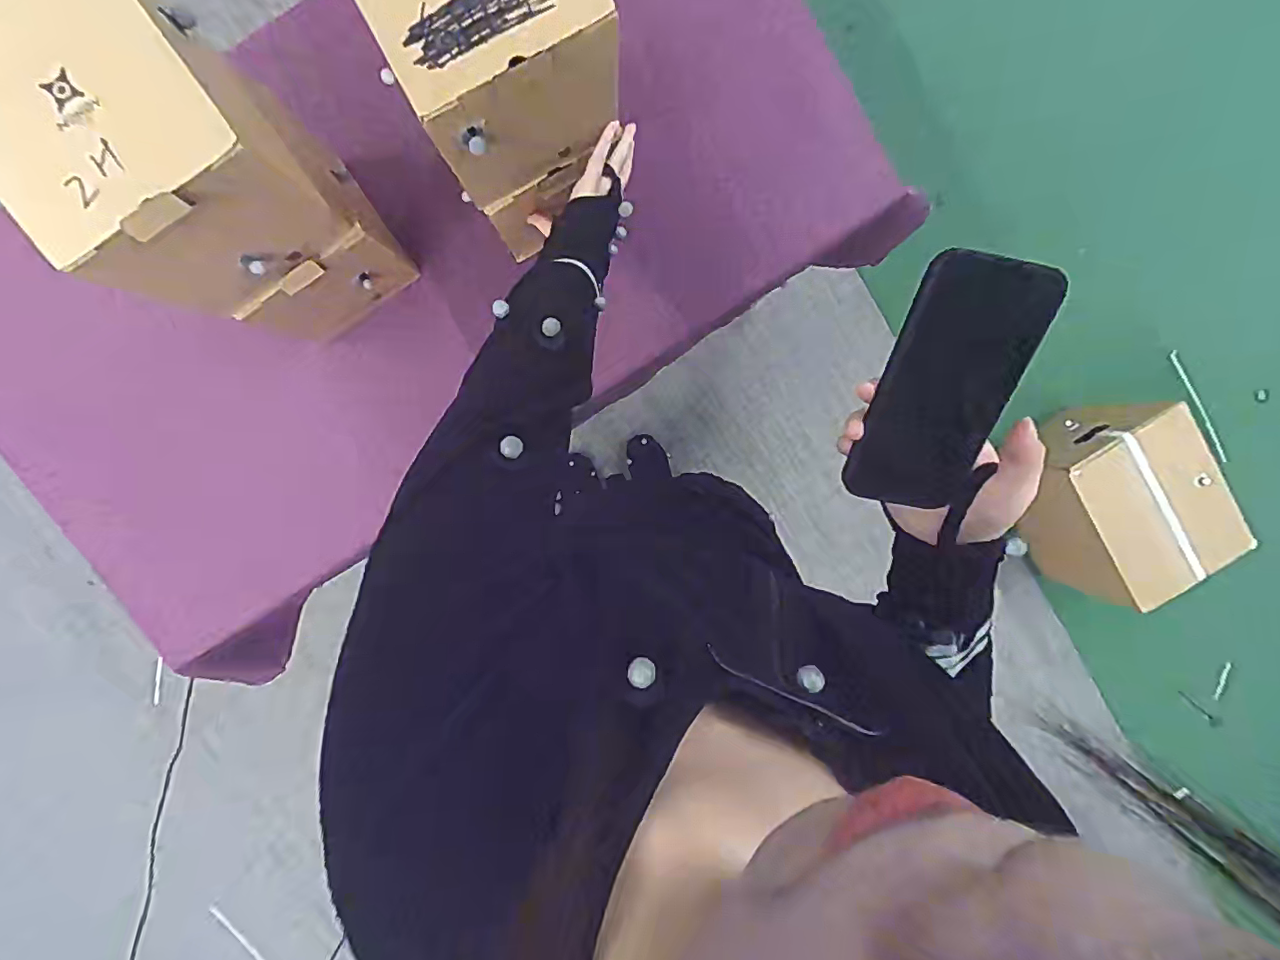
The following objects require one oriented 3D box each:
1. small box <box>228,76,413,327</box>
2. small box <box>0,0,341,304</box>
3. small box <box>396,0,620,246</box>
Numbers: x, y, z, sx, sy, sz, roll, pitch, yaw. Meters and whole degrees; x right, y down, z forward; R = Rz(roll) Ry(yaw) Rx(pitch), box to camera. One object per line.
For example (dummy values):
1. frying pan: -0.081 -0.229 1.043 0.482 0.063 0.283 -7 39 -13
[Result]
1. small box: -0.400 -0.295 0.625 0.168 0.176 0.179 -34 96 1
2. small box: -0.407 -0.279 0.460 0.168 0.176 0.179 -34 97 1
3. small box: -0.137 -0.406 0.623 0.168 0.176 0.179 -30 98 1
